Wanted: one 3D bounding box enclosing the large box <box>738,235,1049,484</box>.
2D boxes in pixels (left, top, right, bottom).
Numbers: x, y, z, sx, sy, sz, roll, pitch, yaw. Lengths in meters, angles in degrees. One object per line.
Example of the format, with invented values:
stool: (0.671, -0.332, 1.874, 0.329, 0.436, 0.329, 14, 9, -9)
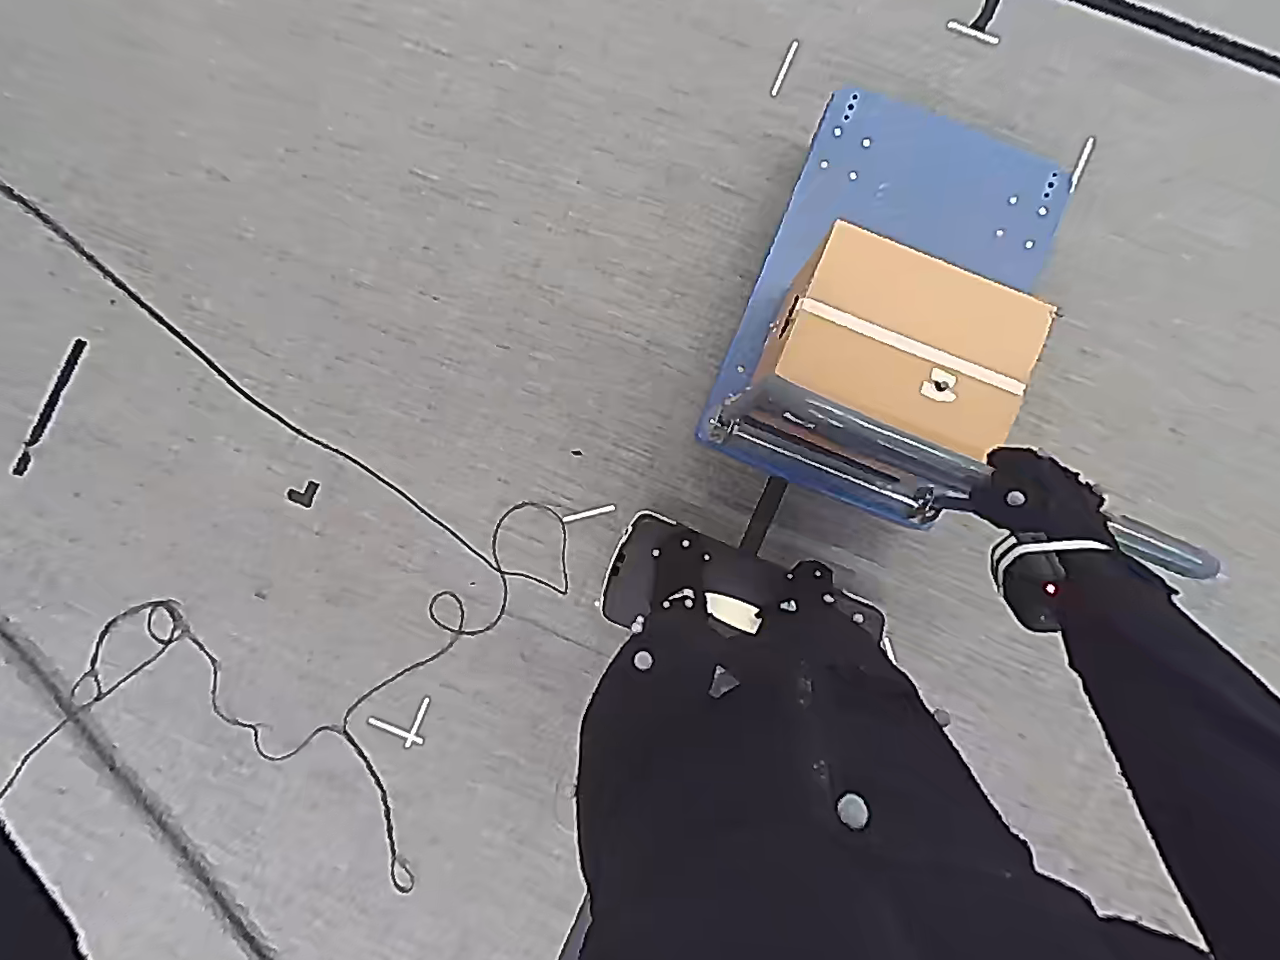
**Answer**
large box: (0.452, -0.204, 1.059, 0.408, 0.320, 0.320, 22, 90, 1)
